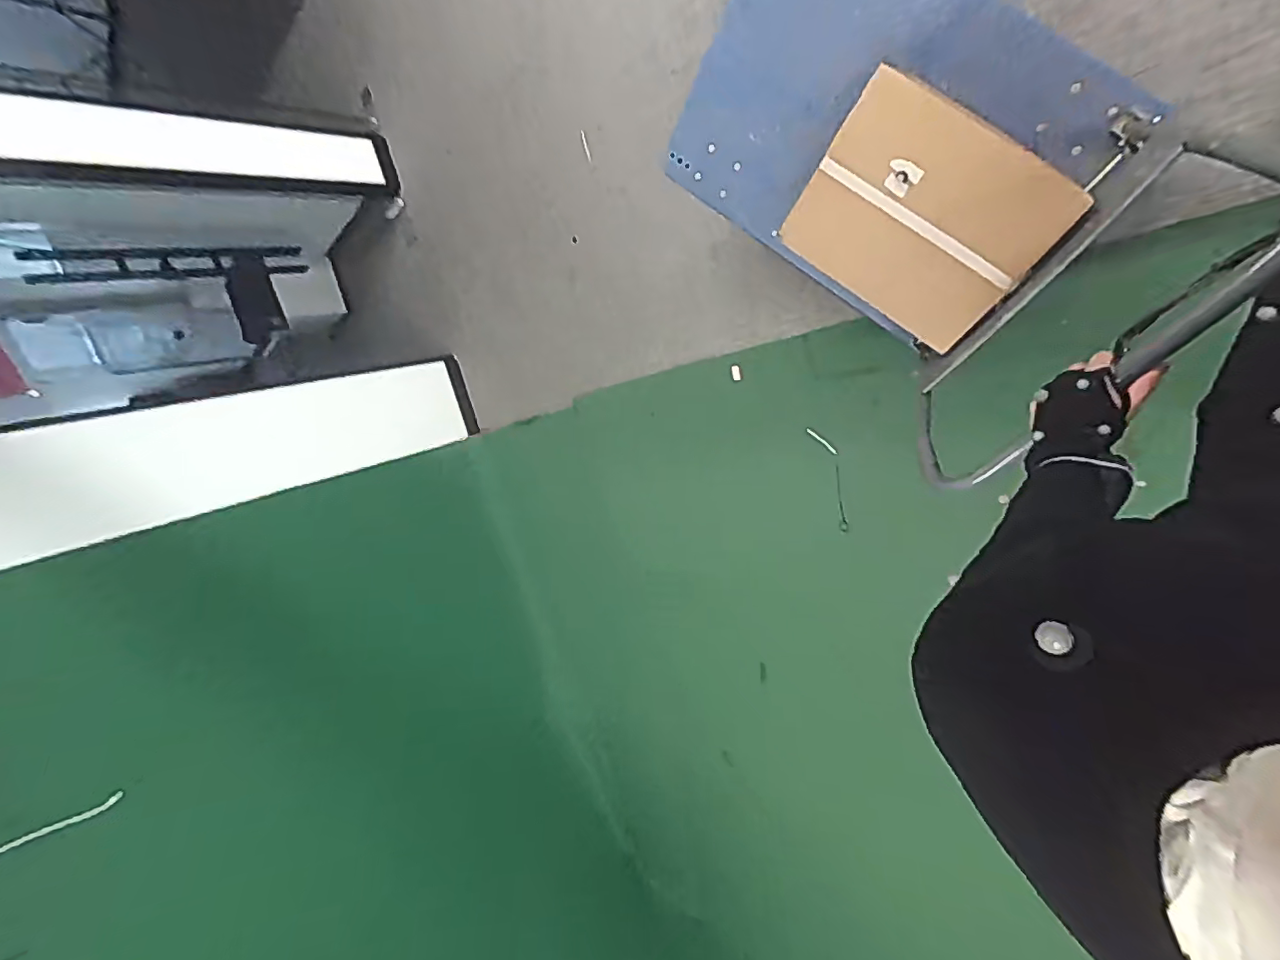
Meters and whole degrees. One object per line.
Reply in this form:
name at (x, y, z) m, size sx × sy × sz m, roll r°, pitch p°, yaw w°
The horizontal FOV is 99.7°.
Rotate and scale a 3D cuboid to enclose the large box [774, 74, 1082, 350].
large box at (0.555, -0.534, 1.078) m, size 0.408 × 0.320 × 0.320 m, roll 37°, pitch 132°, yaw 6°
